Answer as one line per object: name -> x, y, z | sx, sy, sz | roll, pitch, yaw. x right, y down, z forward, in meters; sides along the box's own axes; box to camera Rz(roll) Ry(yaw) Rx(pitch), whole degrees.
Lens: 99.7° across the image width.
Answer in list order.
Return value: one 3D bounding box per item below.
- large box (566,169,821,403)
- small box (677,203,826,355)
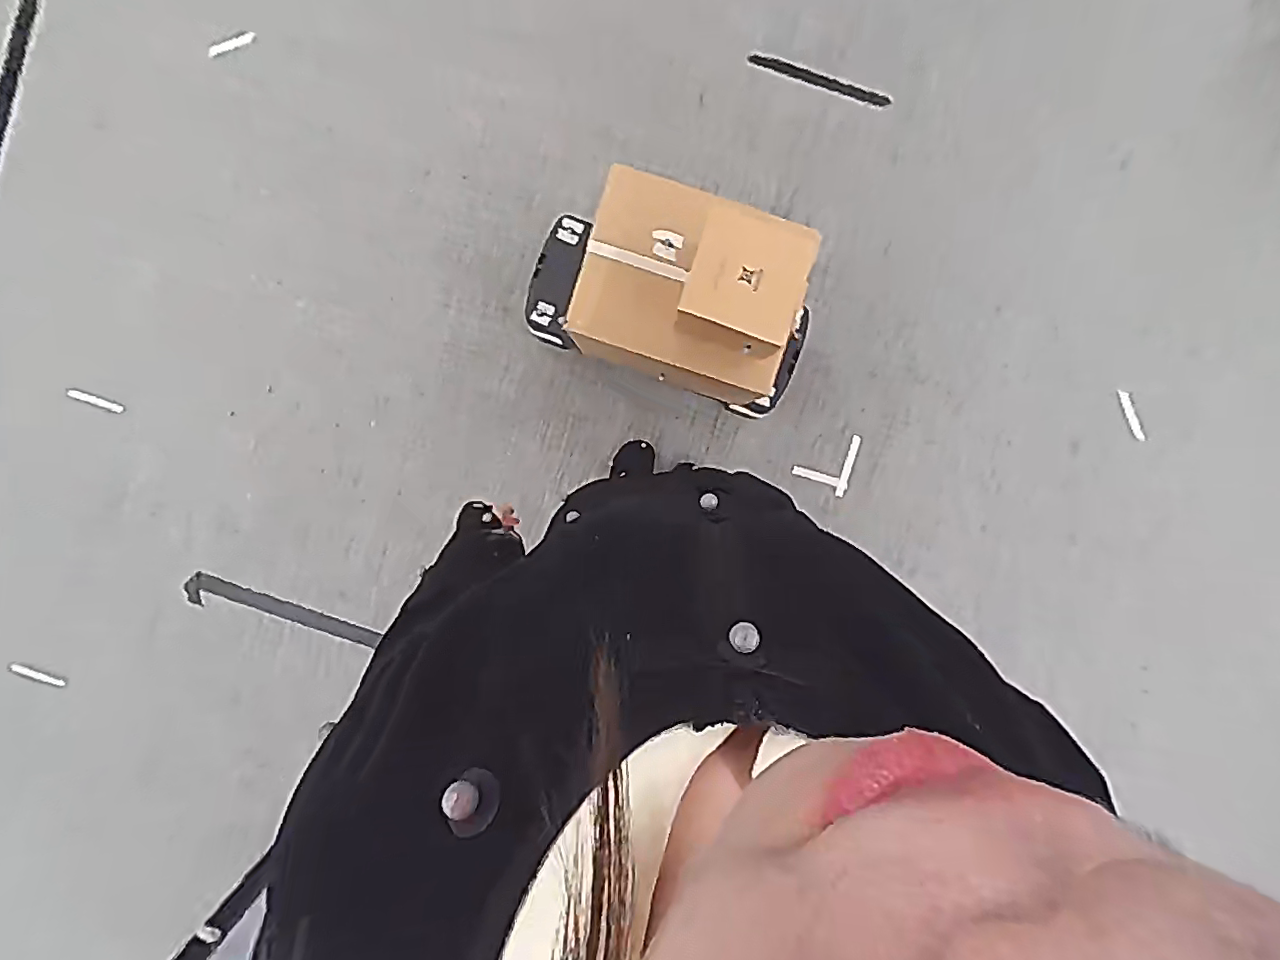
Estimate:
large box -> 0.100, -0.369, 1.130 | 0.408, 0.320, 0.320 | 18, 93, 0
small box -> 0.170, -0.314, 0.888 | 0.179, 0.176, 0.168 | 20, 95, -1
